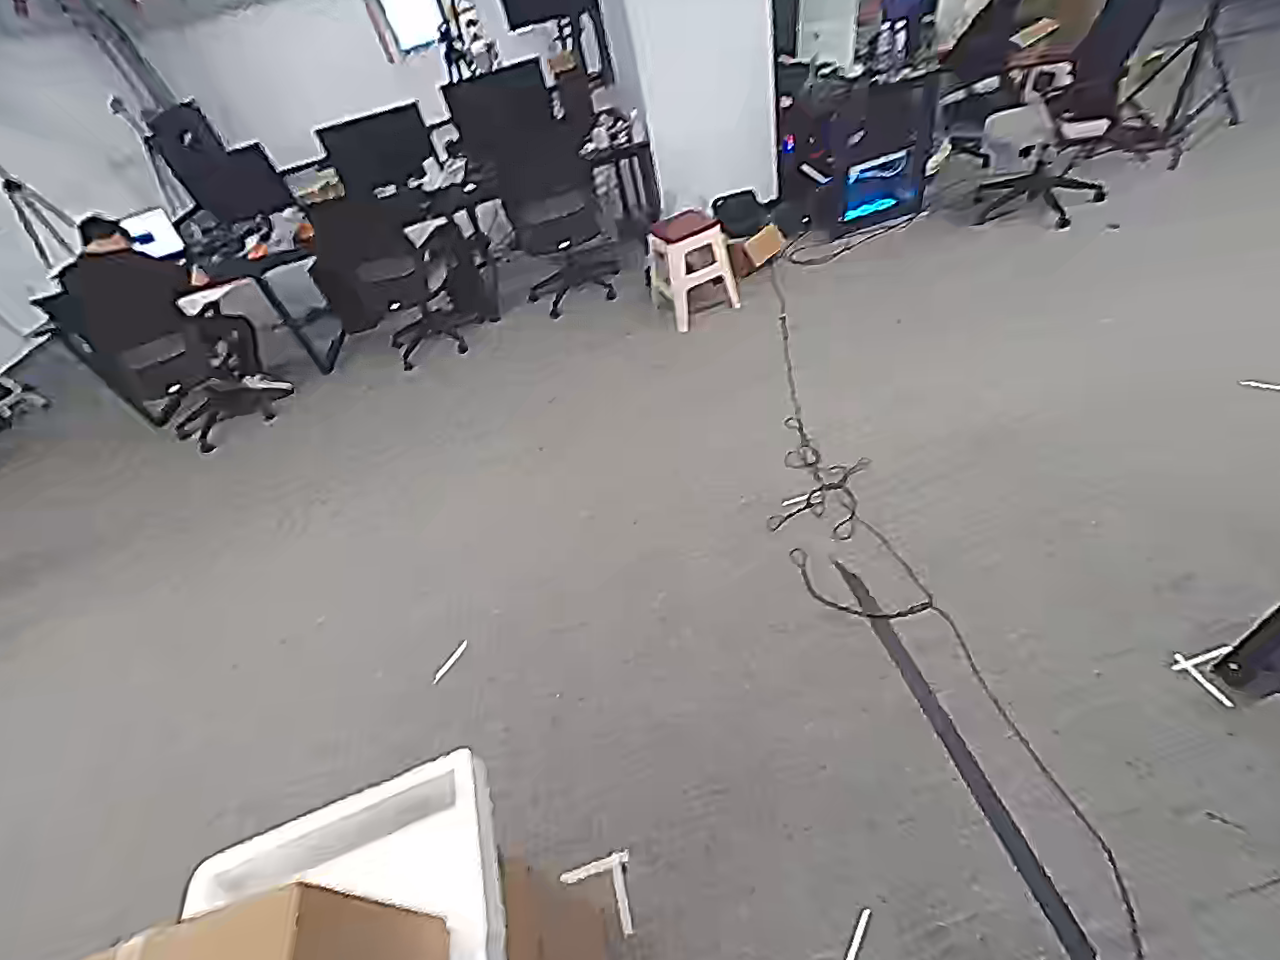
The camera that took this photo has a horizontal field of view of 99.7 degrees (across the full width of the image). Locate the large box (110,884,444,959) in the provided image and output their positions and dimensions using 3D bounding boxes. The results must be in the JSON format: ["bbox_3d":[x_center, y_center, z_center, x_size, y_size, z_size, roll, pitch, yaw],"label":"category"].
[{"bbox_3d":[-0.375,0.661,0.469,0.320,0.320,0.408,-21,45,-3],"label":"large box"}]
